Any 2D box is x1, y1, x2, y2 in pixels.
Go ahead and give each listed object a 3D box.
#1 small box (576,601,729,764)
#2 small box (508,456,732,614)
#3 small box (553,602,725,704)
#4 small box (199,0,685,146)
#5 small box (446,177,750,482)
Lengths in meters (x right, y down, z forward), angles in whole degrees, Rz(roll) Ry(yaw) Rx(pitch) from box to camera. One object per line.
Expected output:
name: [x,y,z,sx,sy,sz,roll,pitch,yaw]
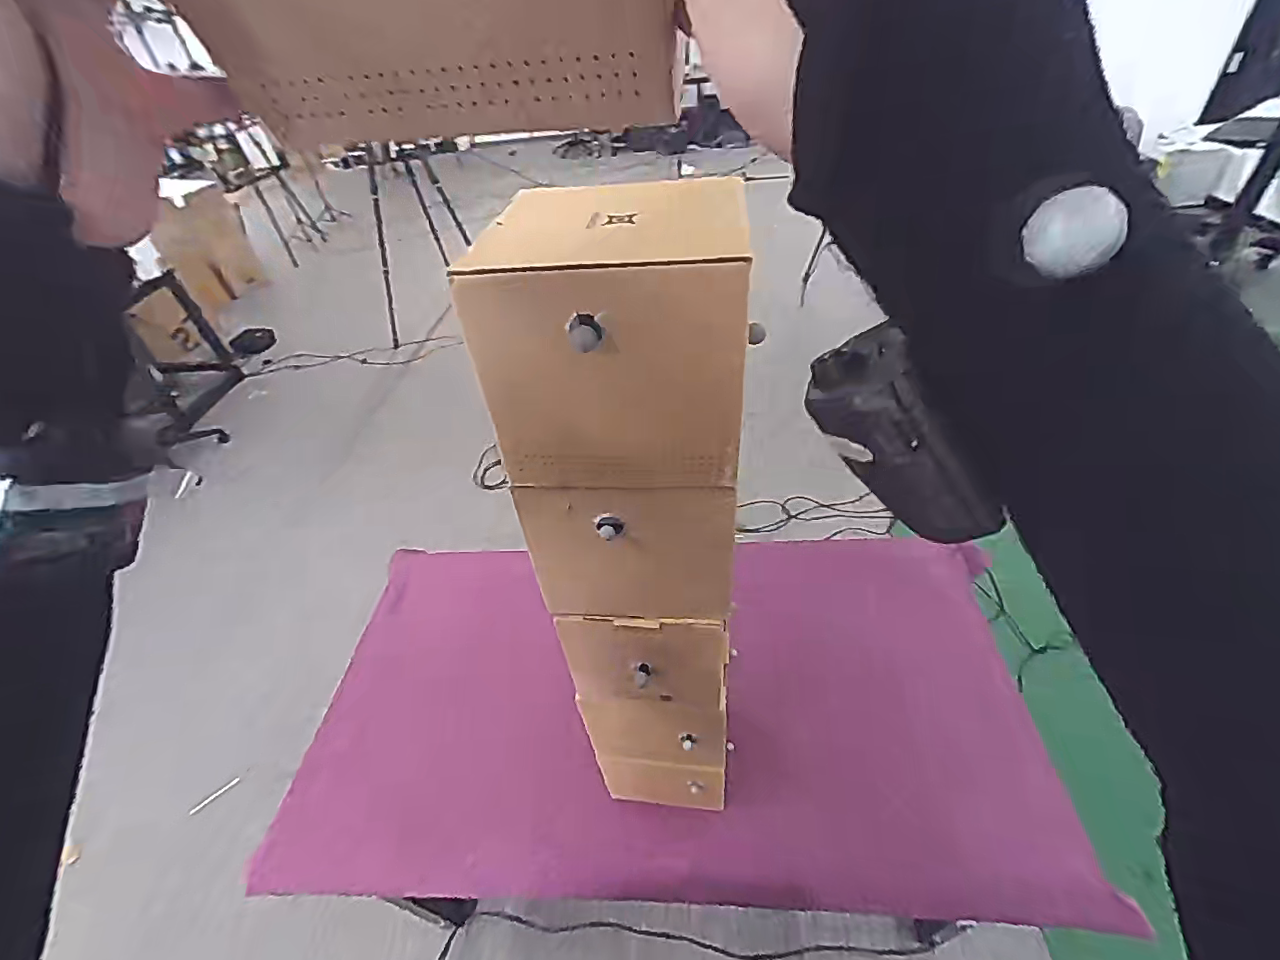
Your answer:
small box: [0.029,0.262,0.727,0.179,0.176,0.168,1,42,10]
small box: [-0.002,0.012,0.518,0.179,0.176,0.168,0,41,7]
small box: [0.013,0.137,0.625,0.168,0.176,0.179,1,42,9]
small box: [-0.070,-0.250,0.189,0.179,0.176,0.168,3,67,10]
small box: [-0.011,-0.111,0.412,0.179,0.176,0.168,0,42,9]
